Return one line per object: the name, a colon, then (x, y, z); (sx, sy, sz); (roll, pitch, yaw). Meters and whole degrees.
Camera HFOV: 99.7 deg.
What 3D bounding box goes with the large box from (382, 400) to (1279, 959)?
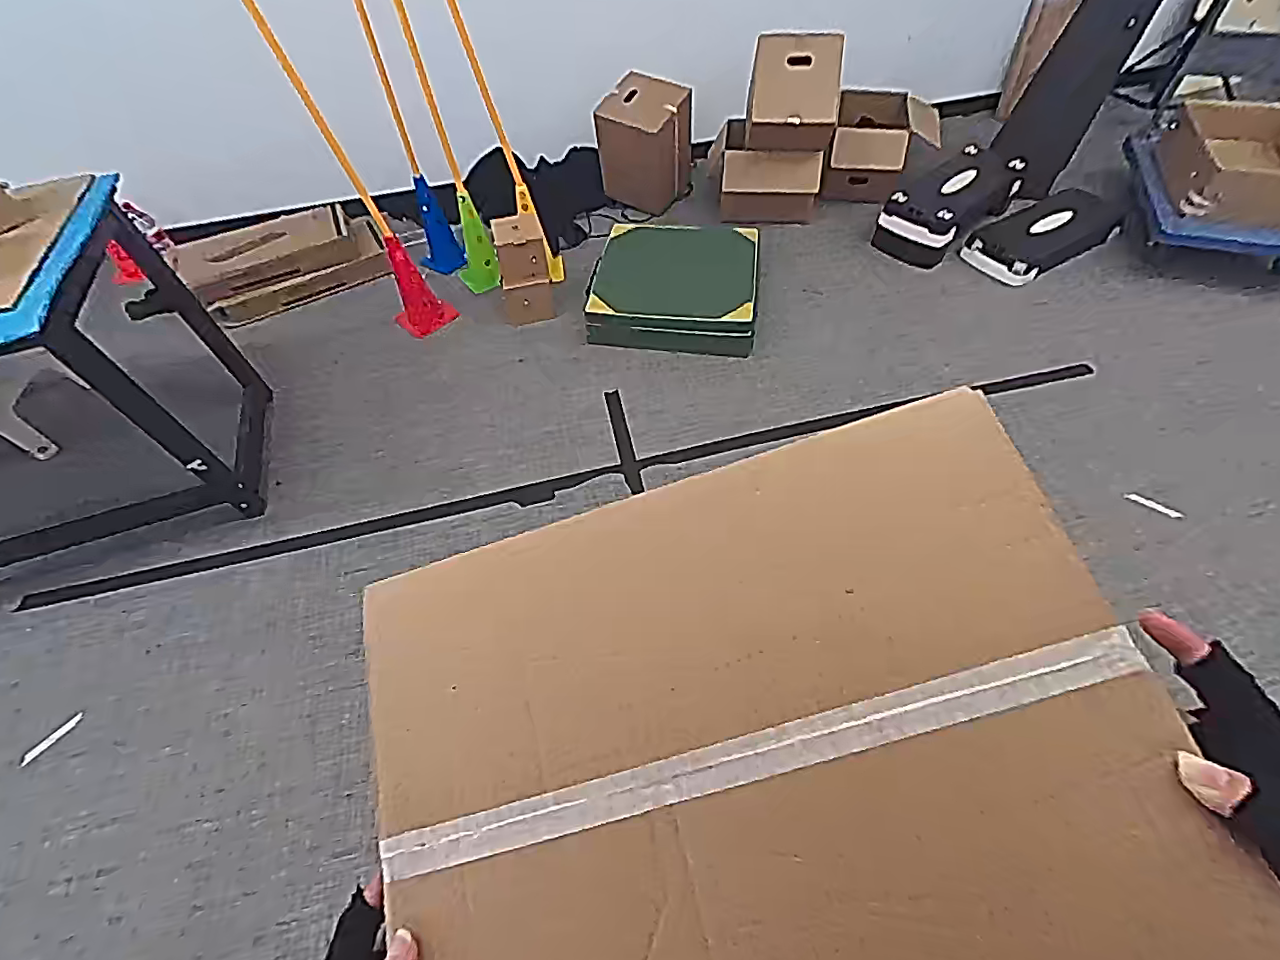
large box: (0.083, 0.197, 0.428); (0.408, 0.320, 0.320); (-19, 67, 6)
